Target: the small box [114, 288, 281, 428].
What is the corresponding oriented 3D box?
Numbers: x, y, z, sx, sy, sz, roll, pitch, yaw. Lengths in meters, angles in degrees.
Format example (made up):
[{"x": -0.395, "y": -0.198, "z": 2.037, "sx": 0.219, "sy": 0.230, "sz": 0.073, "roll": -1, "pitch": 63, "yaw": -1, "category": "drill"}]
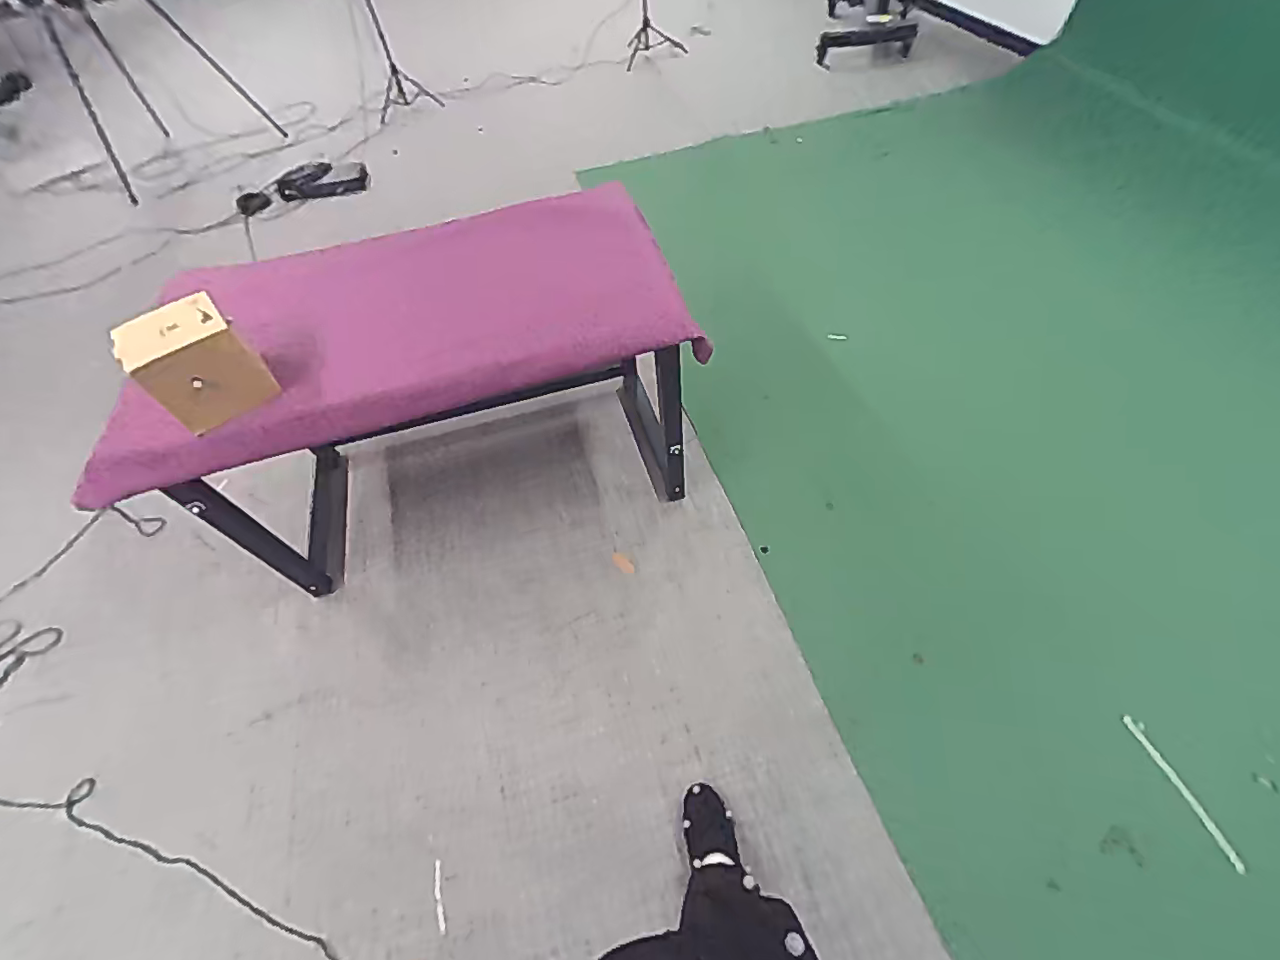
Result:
[{"x": -0.855, "y": -0.234, "z": 1.056, "sx": 0.179, "sy": 0.176, "sz": 0.168, "roll": -36, "pitch": 59, "yaw": -19, "category": "small box"}]
